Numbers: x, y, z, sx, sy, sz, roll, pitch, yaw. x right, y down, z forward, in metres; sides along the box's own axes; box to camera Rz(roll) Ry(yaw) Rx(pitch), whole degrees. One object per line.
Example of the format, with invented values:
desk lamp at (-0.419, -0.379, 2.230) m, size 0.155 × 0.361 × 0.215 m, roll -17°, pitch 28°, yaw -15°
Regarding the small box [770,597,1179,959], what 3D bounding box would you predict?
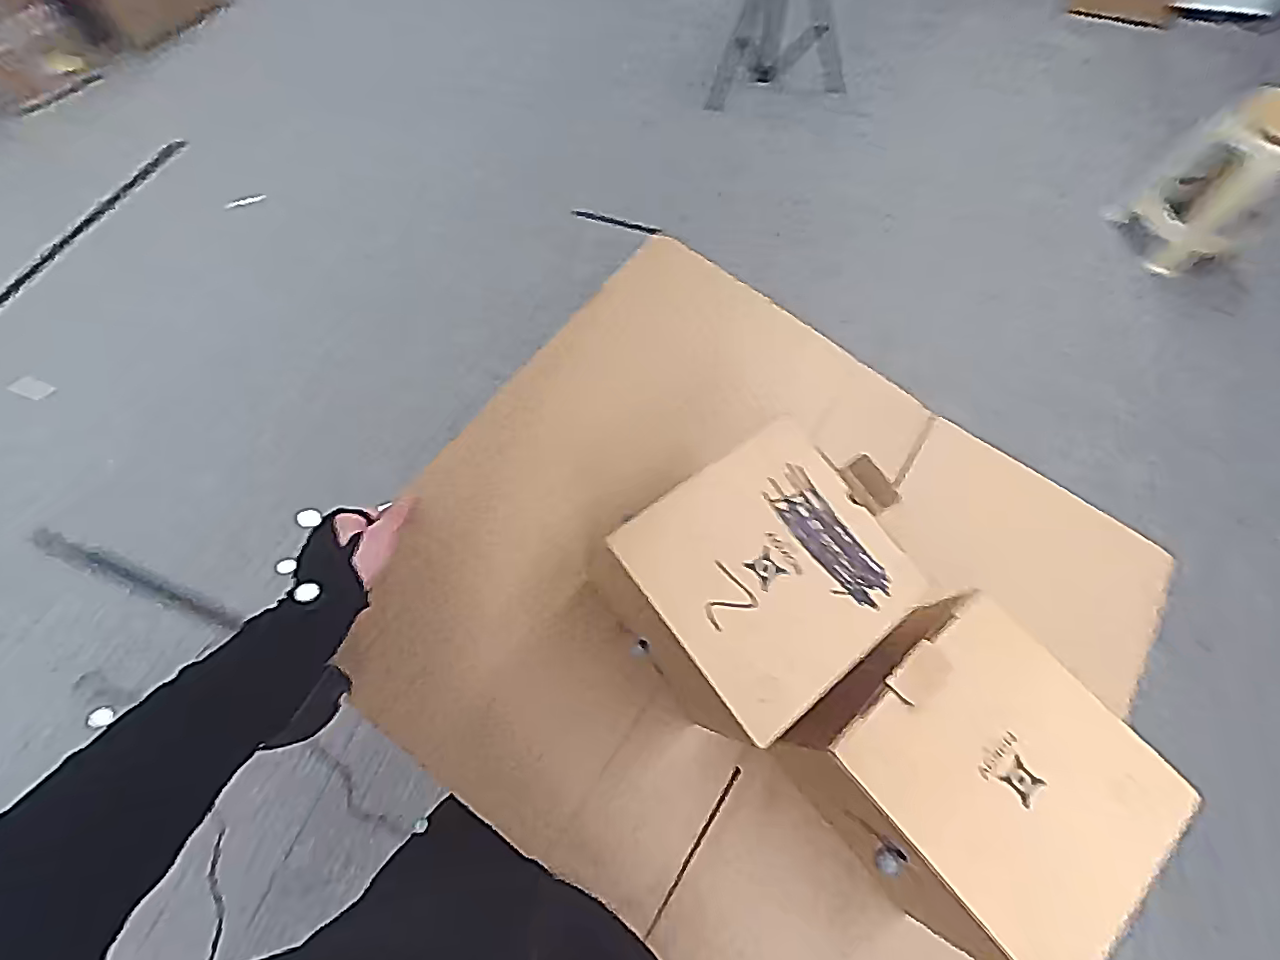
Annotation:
small box at (0.235, 0.222, 0.428) m, size 0.168 × 0.176 × 0.179 m, roll -38°, pitch 74°, yaw -18°
